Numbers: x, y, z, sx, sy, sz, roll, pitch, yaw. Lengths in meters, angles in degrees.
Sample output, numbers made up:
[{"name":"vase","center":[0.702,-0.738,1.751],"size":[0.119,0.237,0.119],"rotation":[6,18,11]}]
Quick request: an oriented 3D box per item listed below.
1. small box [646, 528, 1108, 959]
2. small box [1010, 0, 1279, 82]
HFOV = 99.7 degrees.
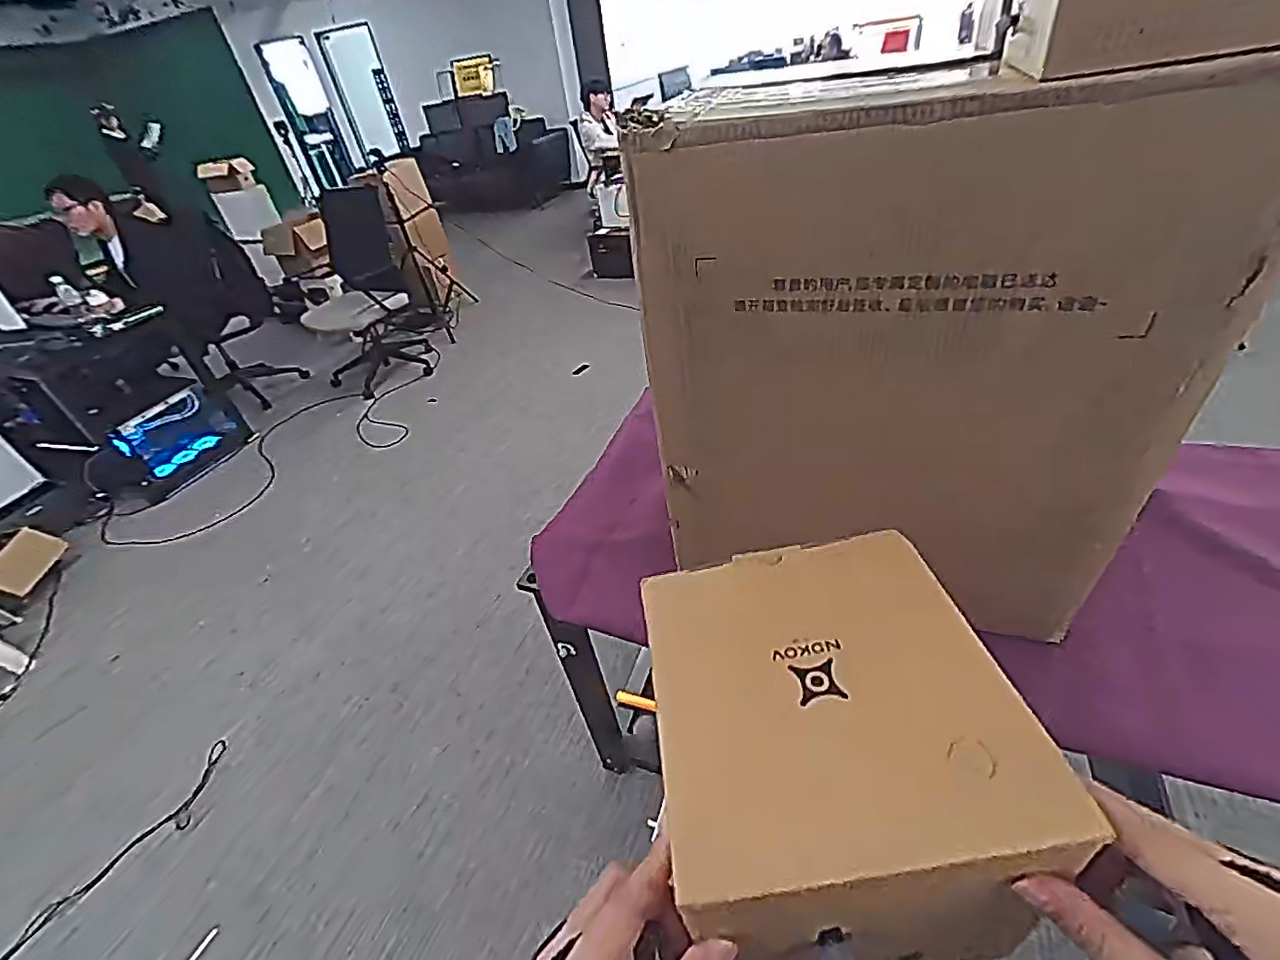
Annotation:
[{"name":"small box","center":[0.105,0.160,0.317],"size":[0.168,0.176,0.179],"rotation":[-12,35,3]},{"name":"small box","center":[0.375,-0.388,0.364],"size":[0.179,0.176,0.168],"rotation":[4,41,19]}]
